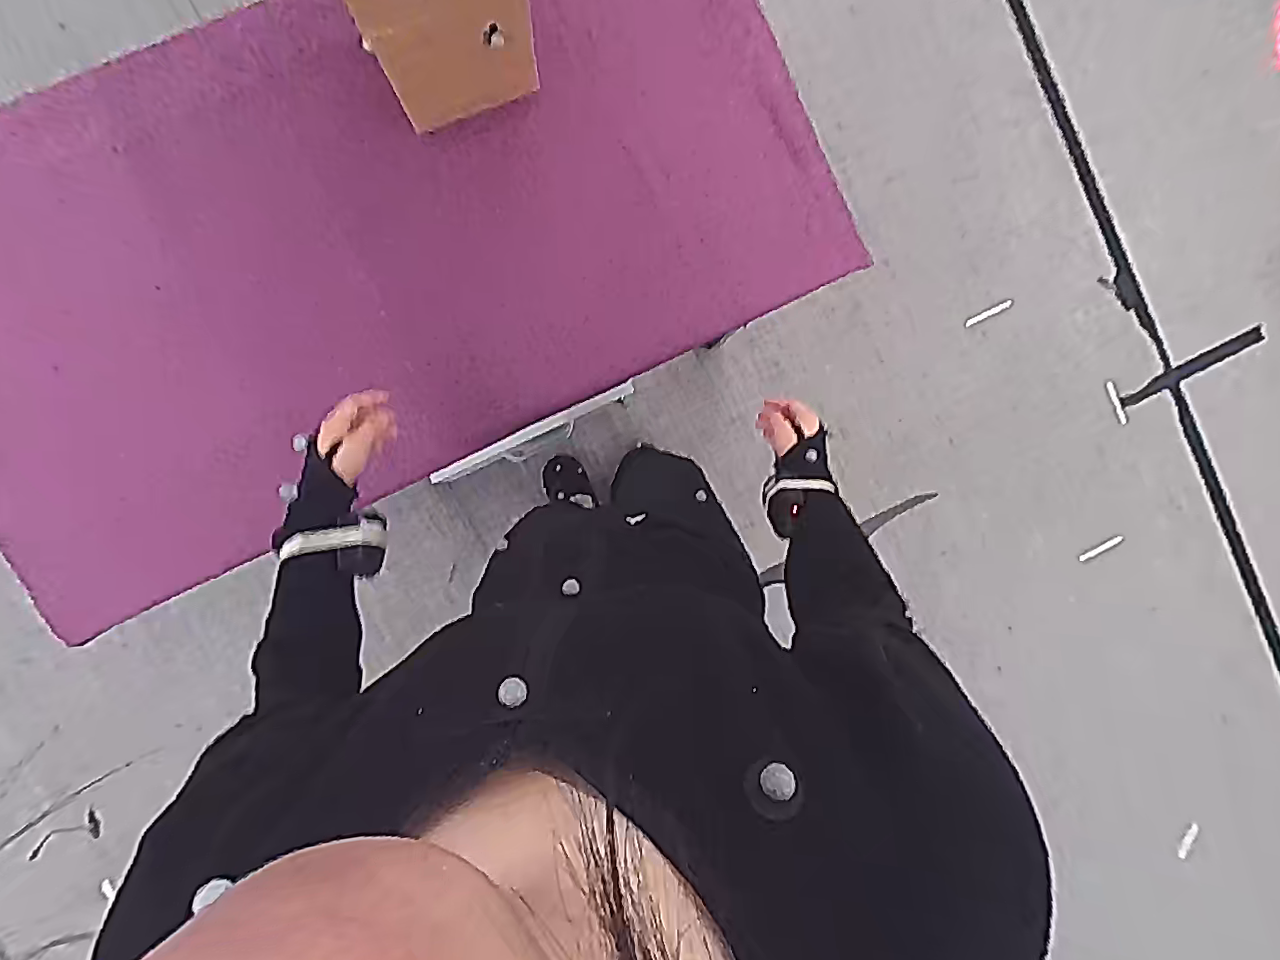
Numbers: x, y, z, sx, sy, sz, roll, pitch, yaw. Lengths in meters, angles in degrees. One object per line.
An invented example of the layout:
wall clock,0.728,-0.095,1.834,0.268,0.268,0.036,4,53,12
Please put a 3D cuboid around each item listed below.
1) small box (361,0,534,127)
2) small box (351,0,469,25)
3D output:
small box,-0.232,-0.559,0.628,0.179,0.176,0.168,-23,95,-4
small box,-0.217,-0.550,0.465,0.179,0.176,0.168,-21,96,-3
